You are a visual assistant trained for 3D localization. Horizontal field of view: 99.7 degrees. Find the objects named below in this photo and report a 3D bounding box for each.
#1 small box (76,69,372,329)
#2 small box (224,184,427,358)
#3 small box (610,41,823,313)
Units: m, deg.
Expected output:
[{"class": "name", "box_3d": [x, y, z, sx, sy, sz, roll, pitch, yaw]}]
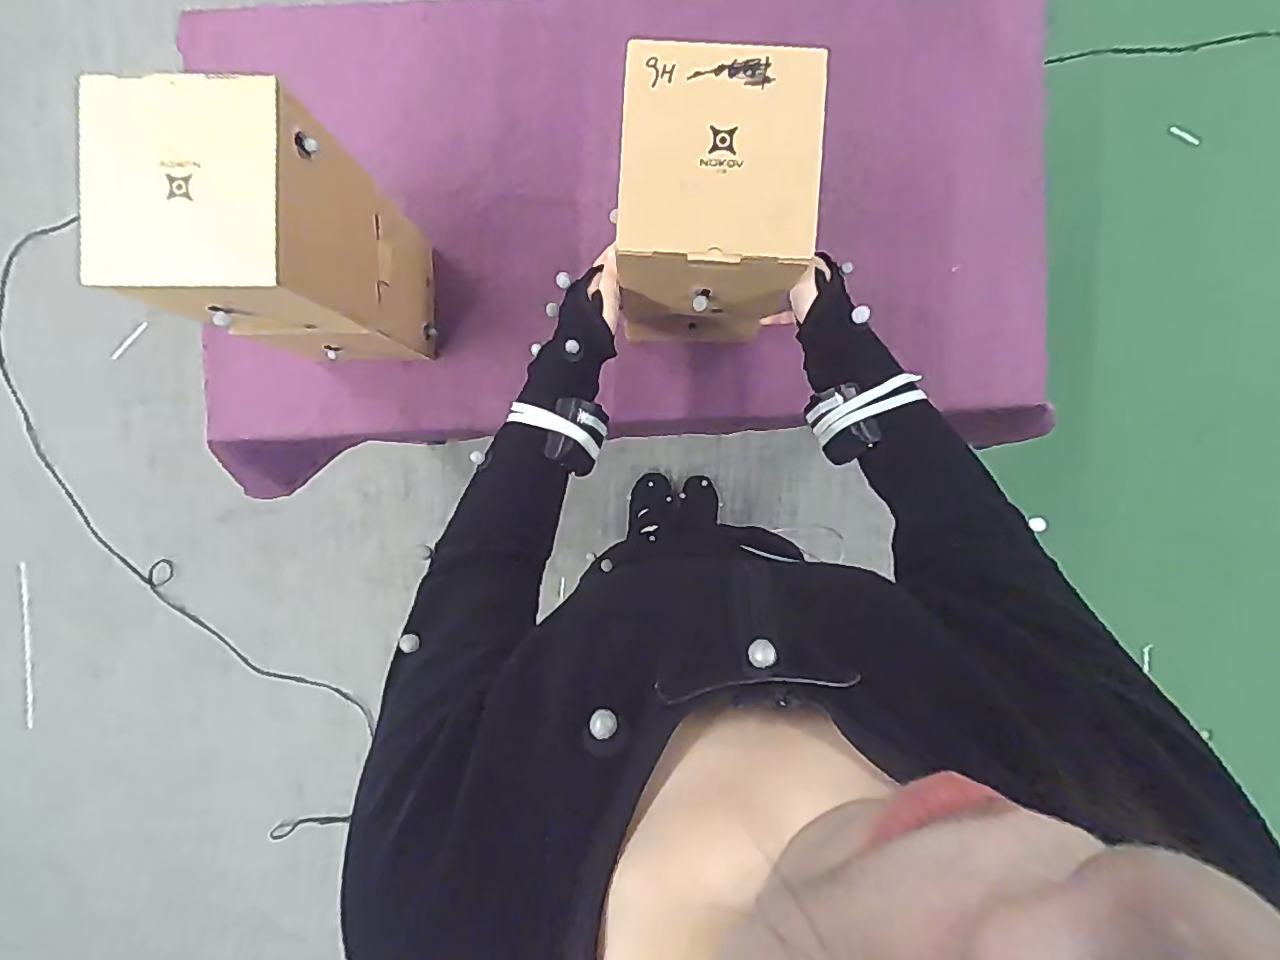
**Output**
[{"class": "small box", "box_3d": [-0.382, -0.252, 0.526, 0.168, 0.176, 0.179, 1, 91, 0]}, {"class": "small box", "box_3d": [-0.385, -0.255, 0.689, 0.179, 0.176, 0.168, 0, 91, 0]}, {"class": "small box", "box_3d": [0.064, -0.271, 0.525, 0.168, 0.176, 0.179, 4, 92, 0]}]
